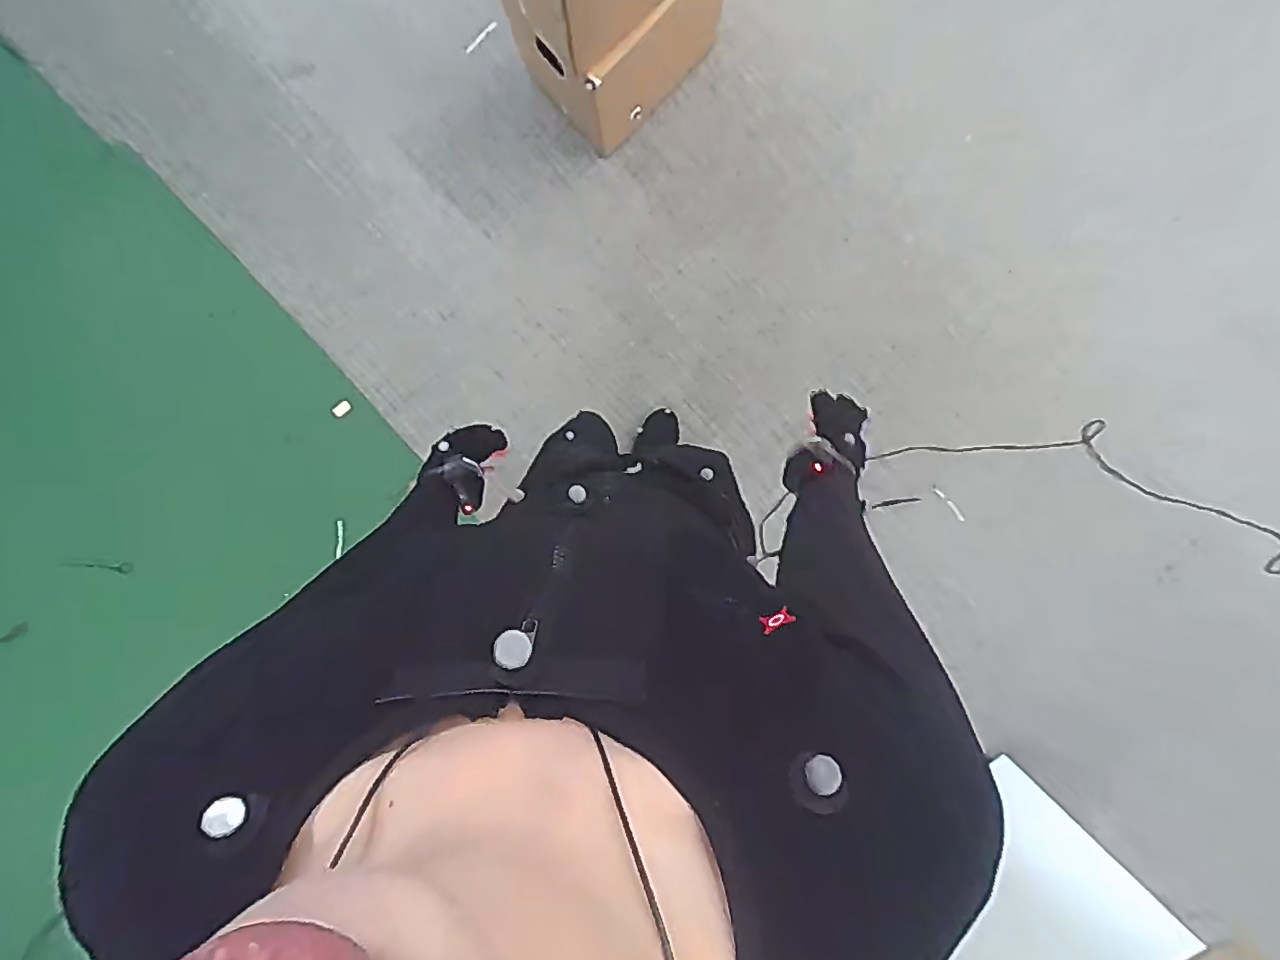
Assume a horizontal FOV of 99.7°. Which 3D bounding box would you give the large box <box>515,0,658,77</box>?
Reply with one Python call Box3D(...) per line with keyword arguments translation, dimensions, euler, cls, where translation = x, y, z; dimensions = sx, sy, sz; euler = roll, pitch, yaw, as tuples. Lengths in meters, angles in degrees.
Box3D(translation=(-0.075, -1.041, 0.931), dimensions=(0.408, 0.320, 0.320), euler=(-41, 98, 6), cls="large box")
